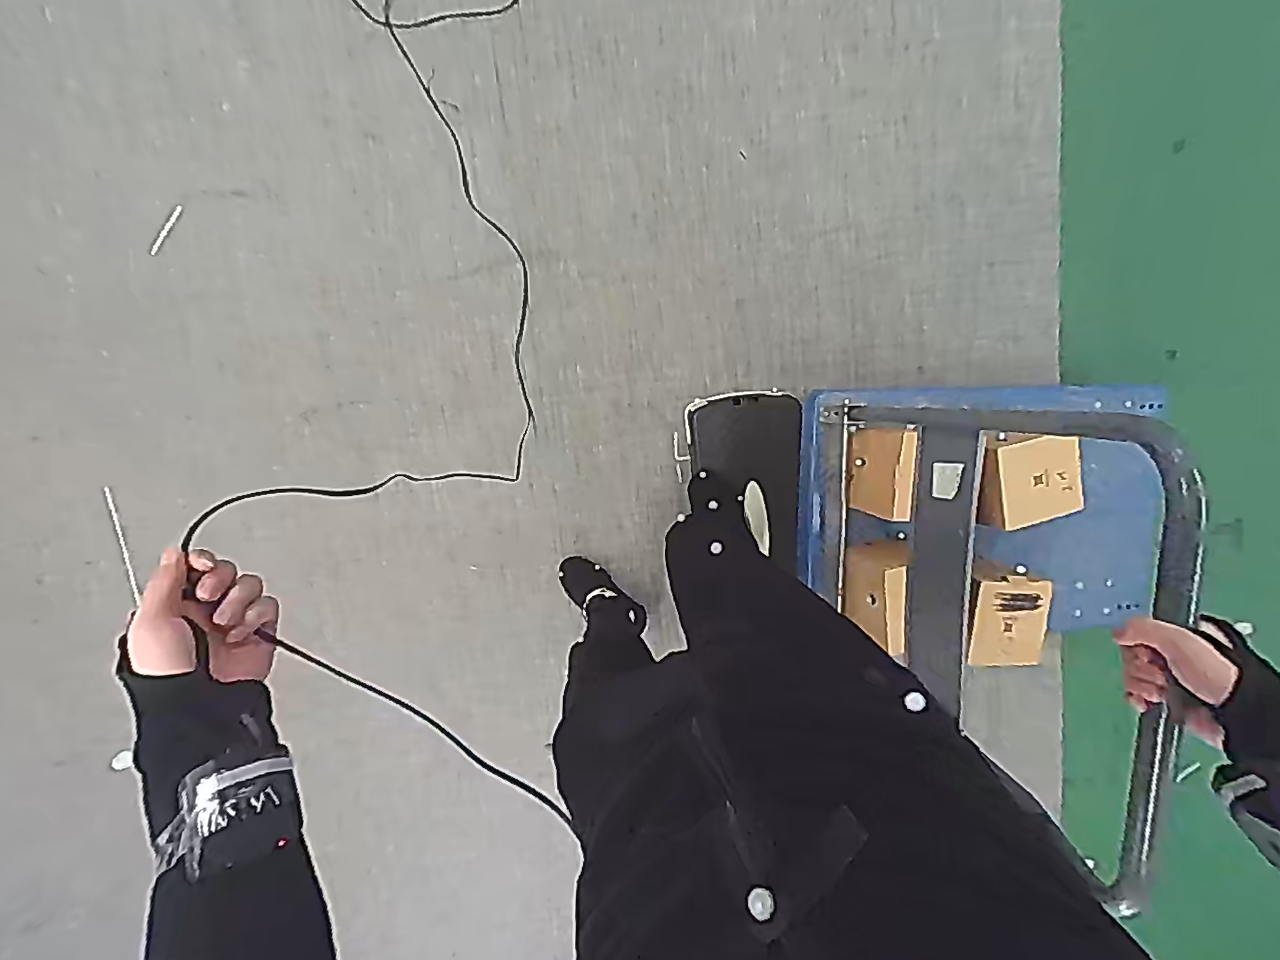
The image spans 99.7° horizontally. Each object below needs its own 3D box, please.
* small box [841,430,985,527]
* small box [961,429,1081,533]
[{"bbox_3d":[0.527,-0.009,1.062,0.179,0.176,0.168,3,98,-9],"label":"small box"},{"bbox_3d":[0.738,-0.005,1.097,0.179,0.176,0.168,-14,101,-8],"label":"small box"}]
